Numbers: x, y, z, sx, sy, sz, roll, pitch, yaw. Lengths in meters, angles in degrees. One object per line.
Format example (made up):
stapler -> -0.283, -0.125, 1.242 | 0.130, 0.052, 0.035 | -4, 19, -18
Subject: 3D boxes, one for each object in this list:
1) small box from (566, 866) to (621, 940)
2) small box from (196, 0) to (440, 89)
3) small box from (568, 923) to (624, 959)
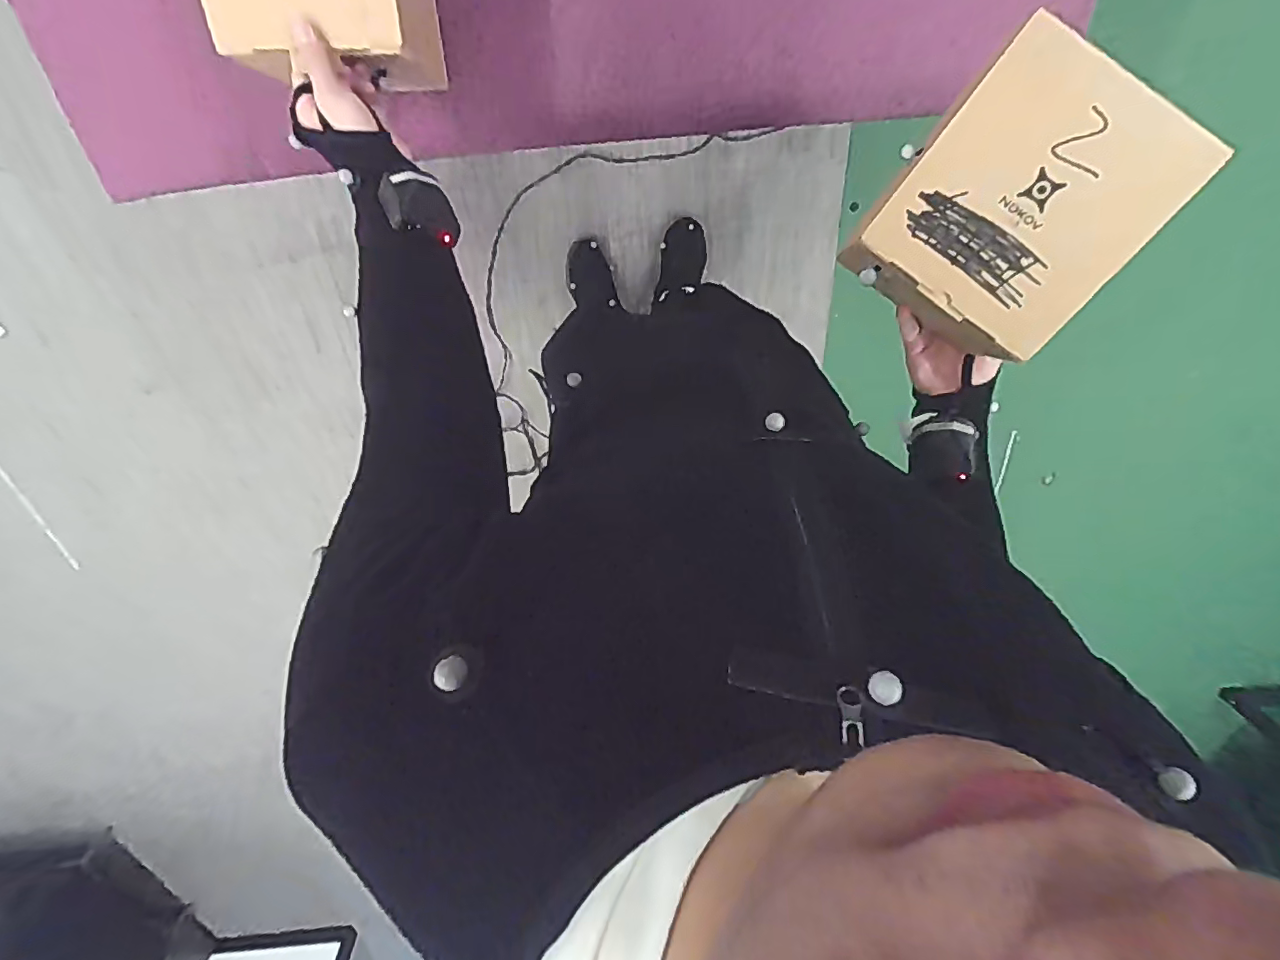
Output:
small box -> -0.150, 1.419, 1.796 | 0.168, 0.176, 0.179 | -3, 118, -1
small box -> -0.305, -0.495, 0.520 | 0.168, 0.176, 0.179 | -2, 115, -4
small box -> -0.138, 1.501, 1.654 | 0.168, 0.176, 0.179 | 5, 117, -6
